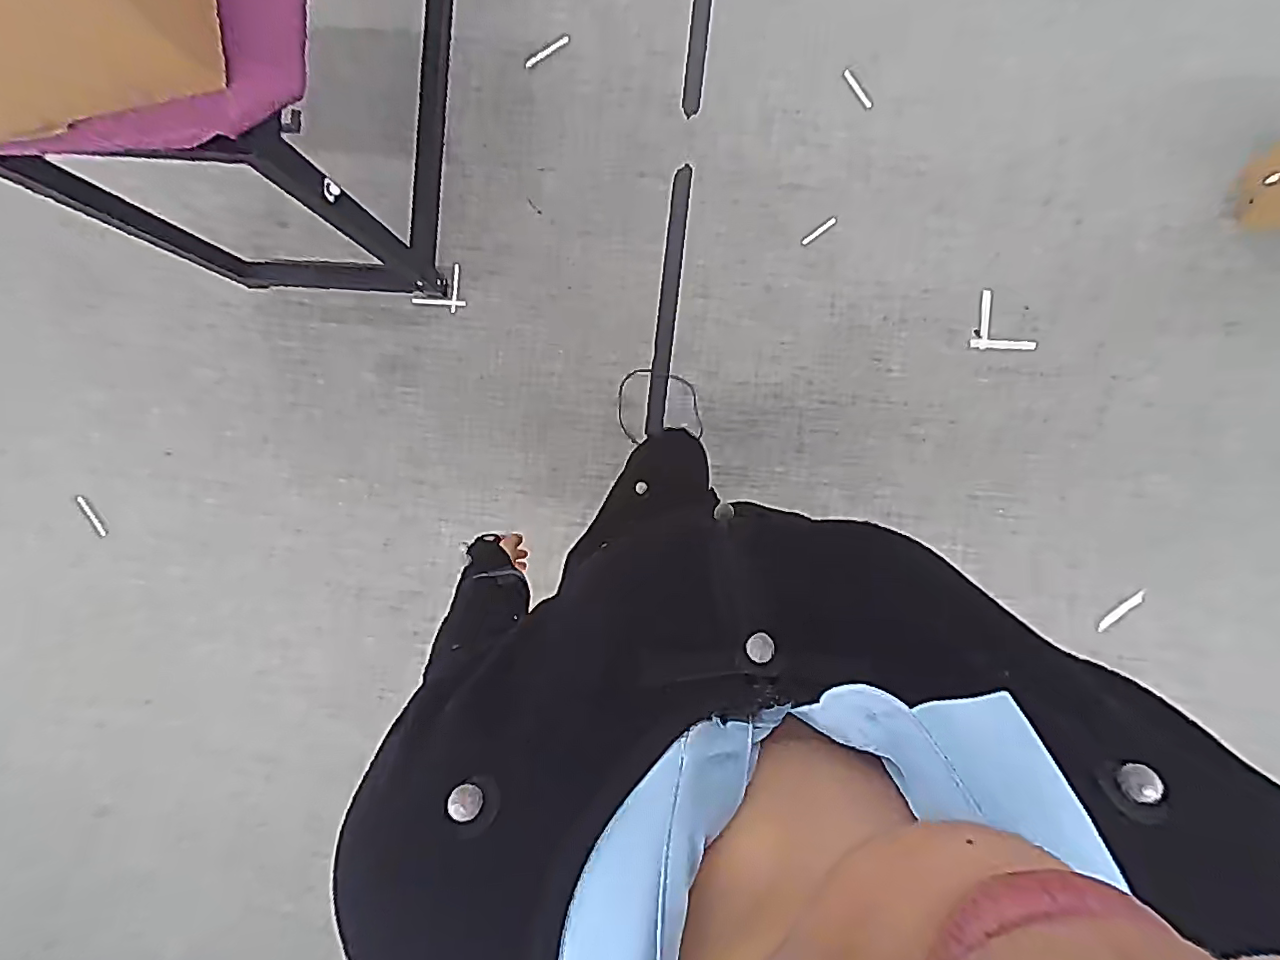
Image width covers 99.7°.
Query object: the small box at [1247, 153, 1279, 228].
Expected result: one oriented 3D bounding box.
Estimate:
[{"bbox_3d":[1.681,-0.741,1.341,0.179,0.176,0.168,2,91,2],"label":"small box"}]
